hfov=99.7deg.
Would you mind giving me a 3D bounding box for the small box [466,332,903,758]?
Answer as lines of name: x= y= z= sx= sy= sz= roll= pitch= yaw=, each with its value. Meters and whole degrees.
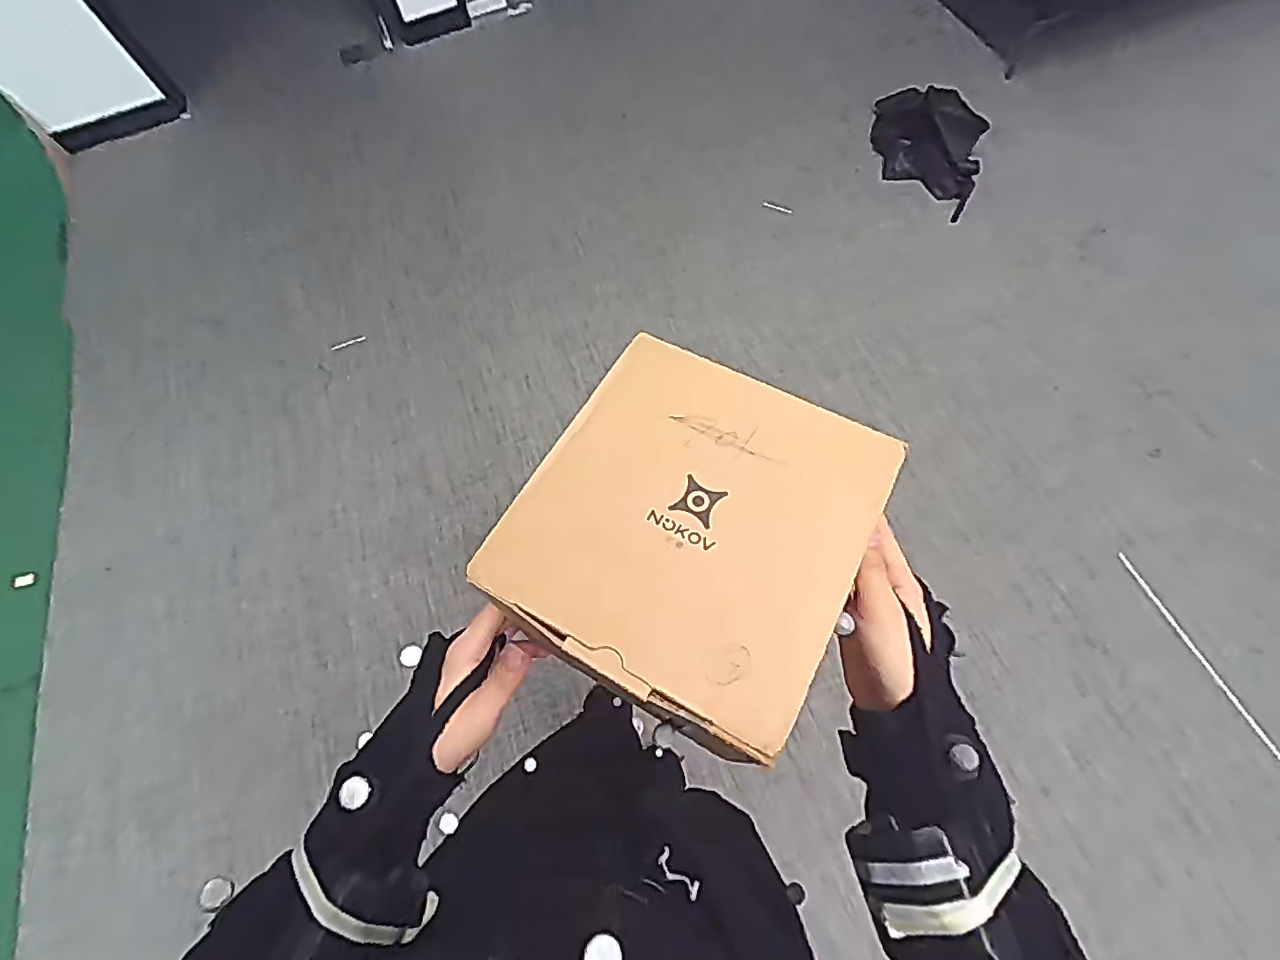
small box: x=0.029 y=0.049 z=0.343 sx=0.168 sy=0.176 sz=0.179 roll=26 pitch=67 yaw=13
